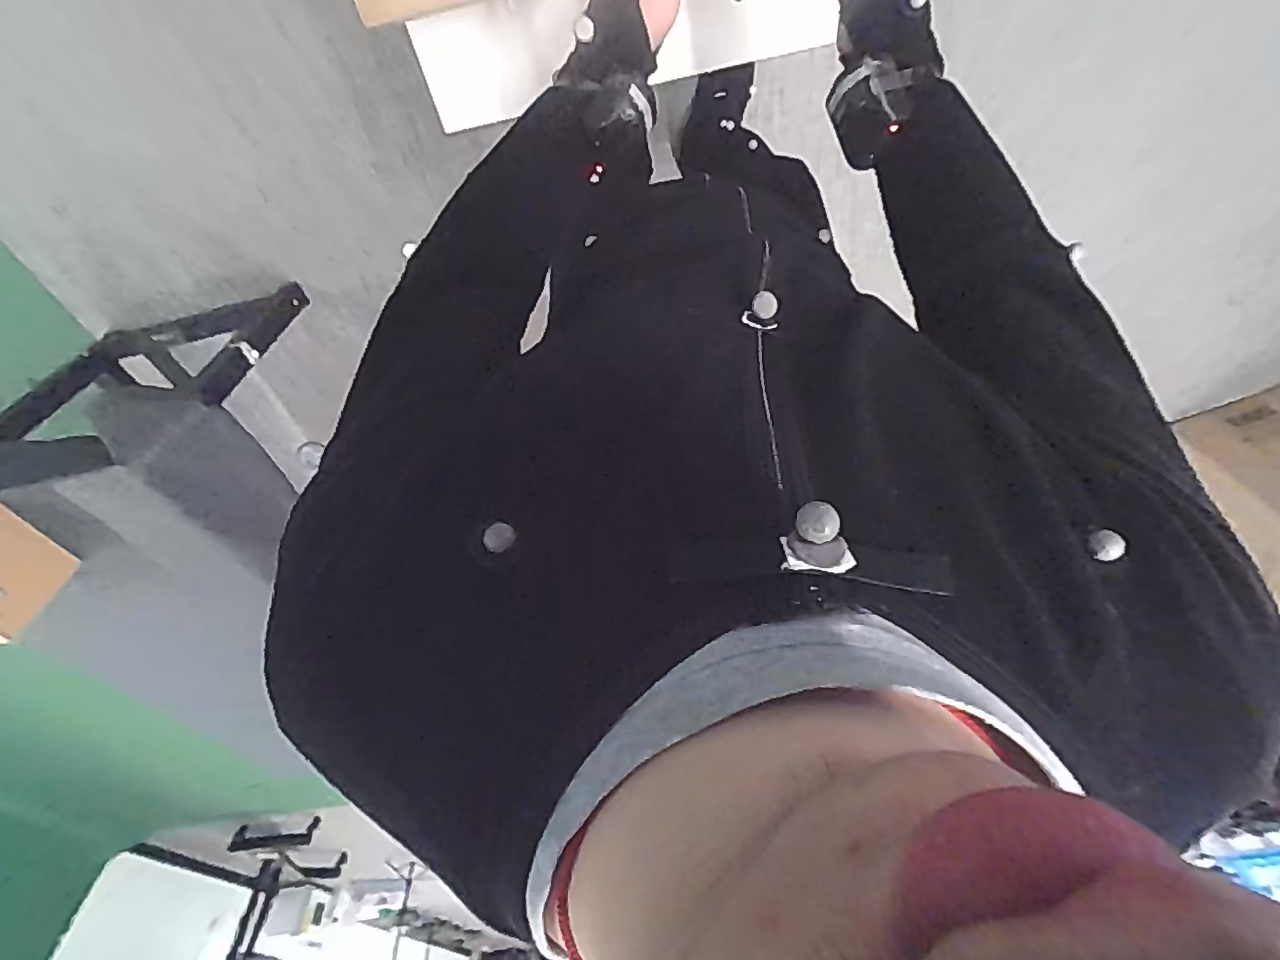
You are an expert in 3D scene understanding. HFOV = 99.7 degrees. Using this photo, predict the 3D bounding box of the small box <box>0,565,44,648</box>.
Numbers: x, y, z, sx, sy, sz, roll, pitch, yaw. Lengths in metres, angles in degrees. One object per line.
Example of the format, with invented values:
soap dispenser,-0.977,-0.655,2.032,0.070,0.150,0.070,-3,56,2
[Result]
small box,-1.106,0.209,0.825,0.168,0.176,0.179,-11,131,1
